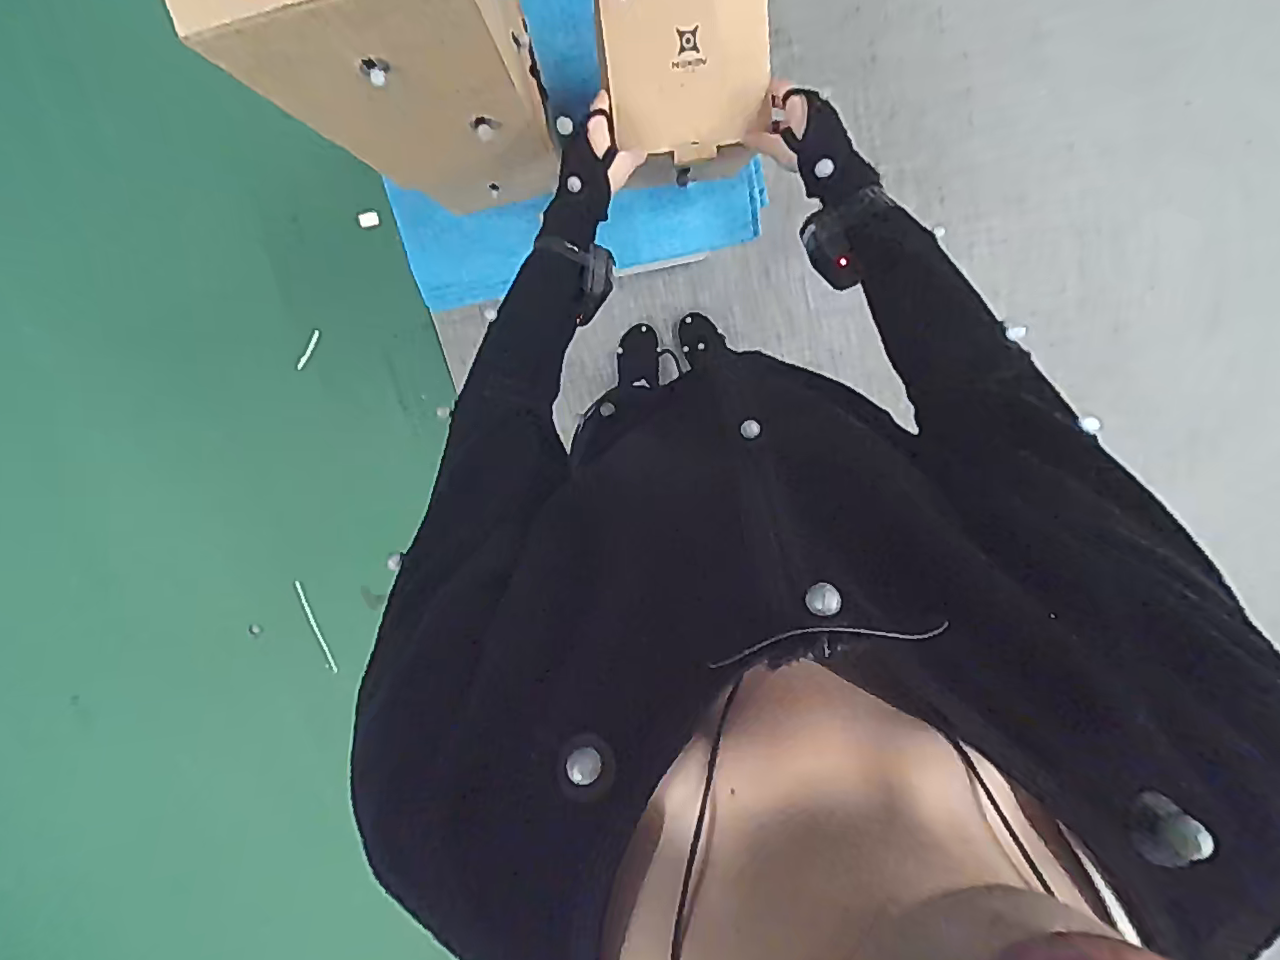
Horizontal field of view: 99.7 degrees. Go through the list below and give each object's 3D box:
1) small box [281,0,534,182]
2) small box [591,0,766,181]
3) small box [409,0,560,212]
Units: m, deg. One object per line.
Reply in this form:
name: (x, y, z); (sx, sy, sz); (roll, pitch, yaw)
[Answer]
small box: (-0.210, -0.415, 0.524); (0.179, 0.176, 0.168); (-13, 104, 2)
small box: (0.037, -0.448, 0.604); (0.168, 0.176, 0.179); (-8, 109, -2)
small box: (-0.205, -0.459, 0.683); (0.179, 0.176, 0.168); (-13, 104, 2)
